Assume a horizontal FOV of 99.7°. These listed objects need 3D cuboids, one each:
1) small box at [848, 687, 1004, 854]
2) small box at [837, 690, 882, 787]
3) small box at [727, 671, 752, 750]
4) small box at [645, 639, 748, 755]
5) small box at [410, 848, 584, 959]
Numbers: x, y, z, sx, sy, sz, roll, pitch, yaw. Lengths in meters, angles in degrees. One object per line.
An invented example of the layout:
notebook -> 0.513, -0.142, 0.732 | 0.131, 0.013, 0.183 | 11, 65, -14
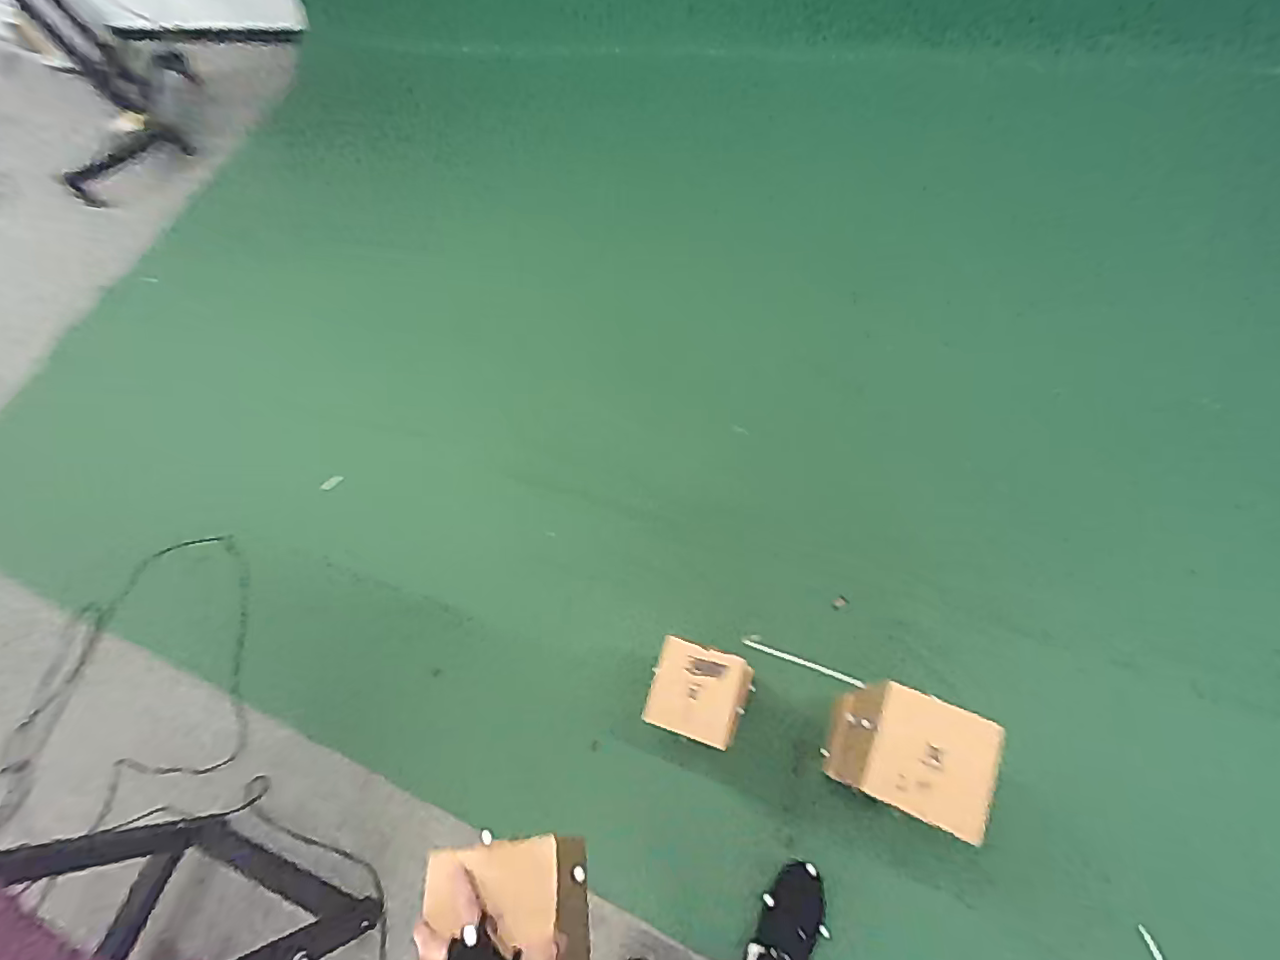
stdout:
small box -> 0.456, 0.462, 0.886 | 0.168, 0.176, 0.179 | 20, 72, 19
small box -> 0.490, 0.526, 1.034 | 0.168, 0.176, 0.179 | 20, 71, 19
small box -> 0.167, 0.521, 1.288 | 0.168, 0.176, 0.179 | 17, 69, 19
small box -> 0.126, 0.457, 1.142 | 0.168, 0.176, 0.179 | 14, 70, 18
small box -> -0.169, 0.574, 0.673 | 0.168, 0.176, 0.179 | -10, 56, 3
